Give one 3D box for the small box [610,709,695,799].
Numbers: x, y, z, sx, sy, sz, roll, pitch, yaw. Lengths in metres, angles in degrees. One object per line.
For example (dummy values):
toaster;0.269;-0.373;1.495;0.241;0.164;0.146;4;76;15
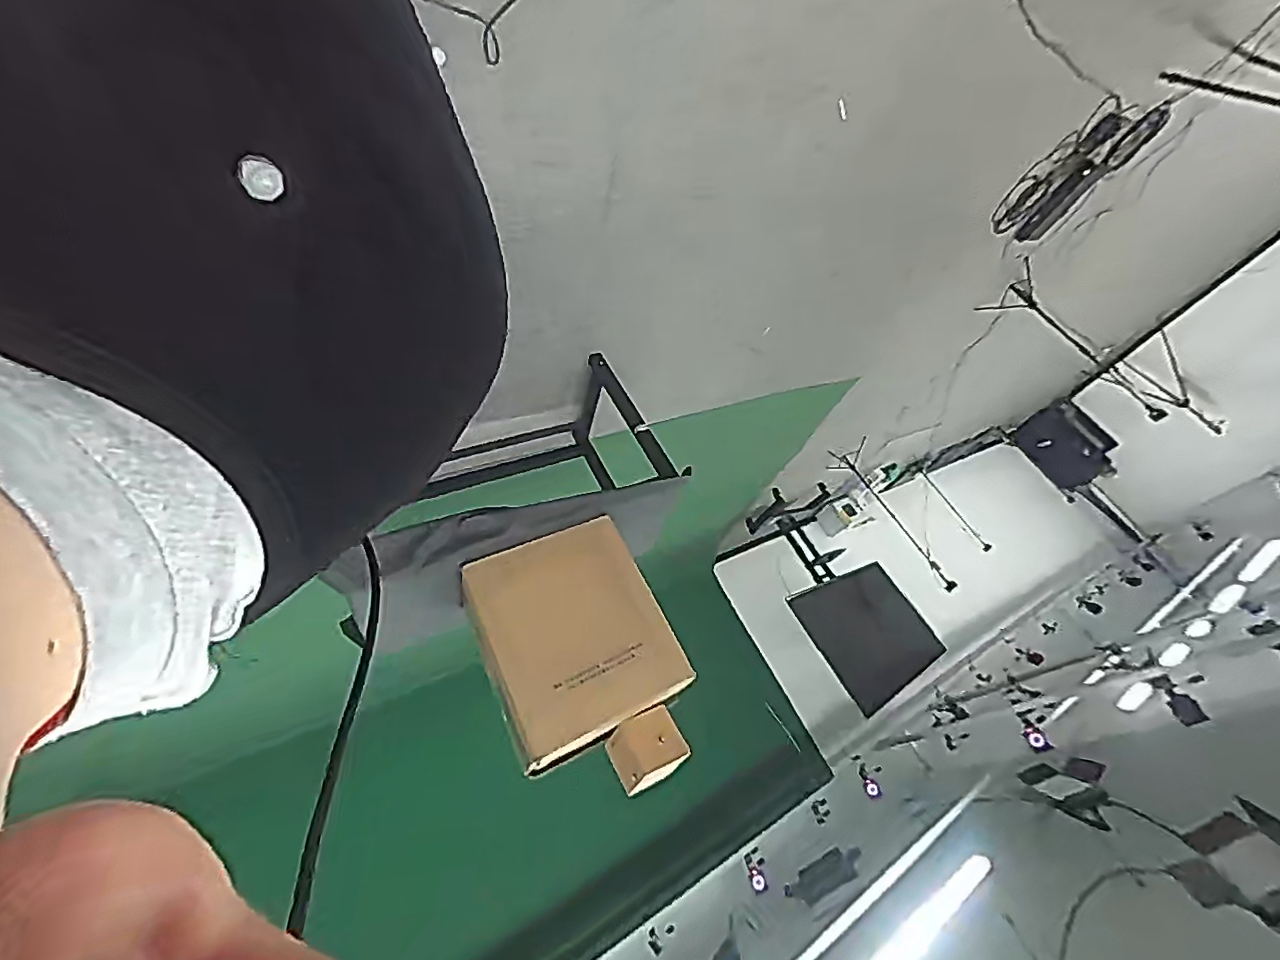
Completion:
small box;0.035;0.857;1.705;0.179;0.176;0.168;-8;137;-36
